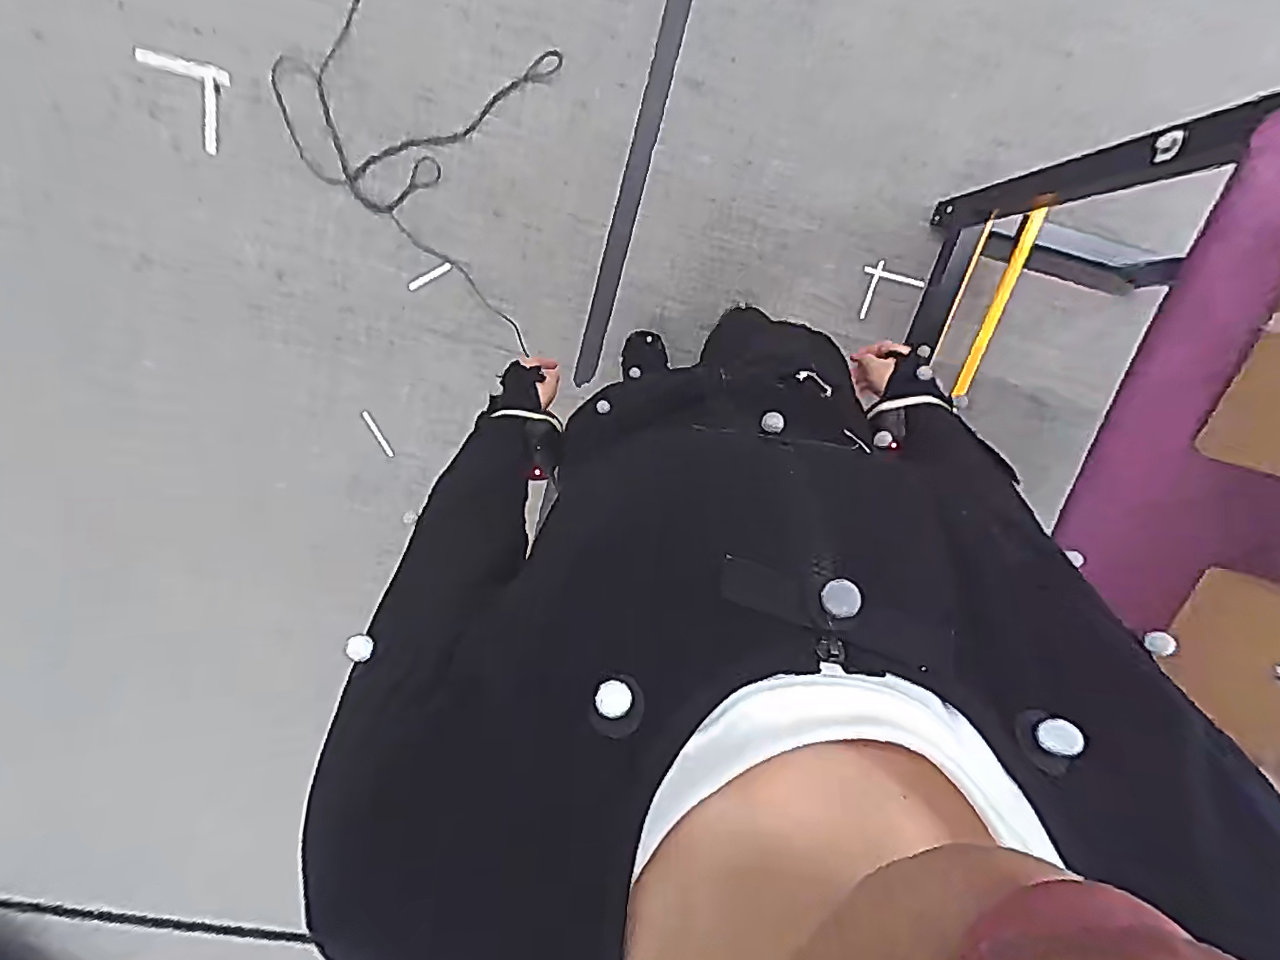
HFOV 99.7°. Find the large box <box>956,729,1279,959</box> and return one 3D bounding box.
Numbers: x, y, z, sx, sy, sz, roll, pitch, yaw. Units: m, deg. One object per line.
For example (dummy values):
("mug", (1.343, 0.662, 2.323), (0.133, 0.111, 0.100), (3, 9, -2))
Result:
("large box", (0.715, 0.563, 0.678), (0.408, 0.320, 0.320), (12, 107, -9))
